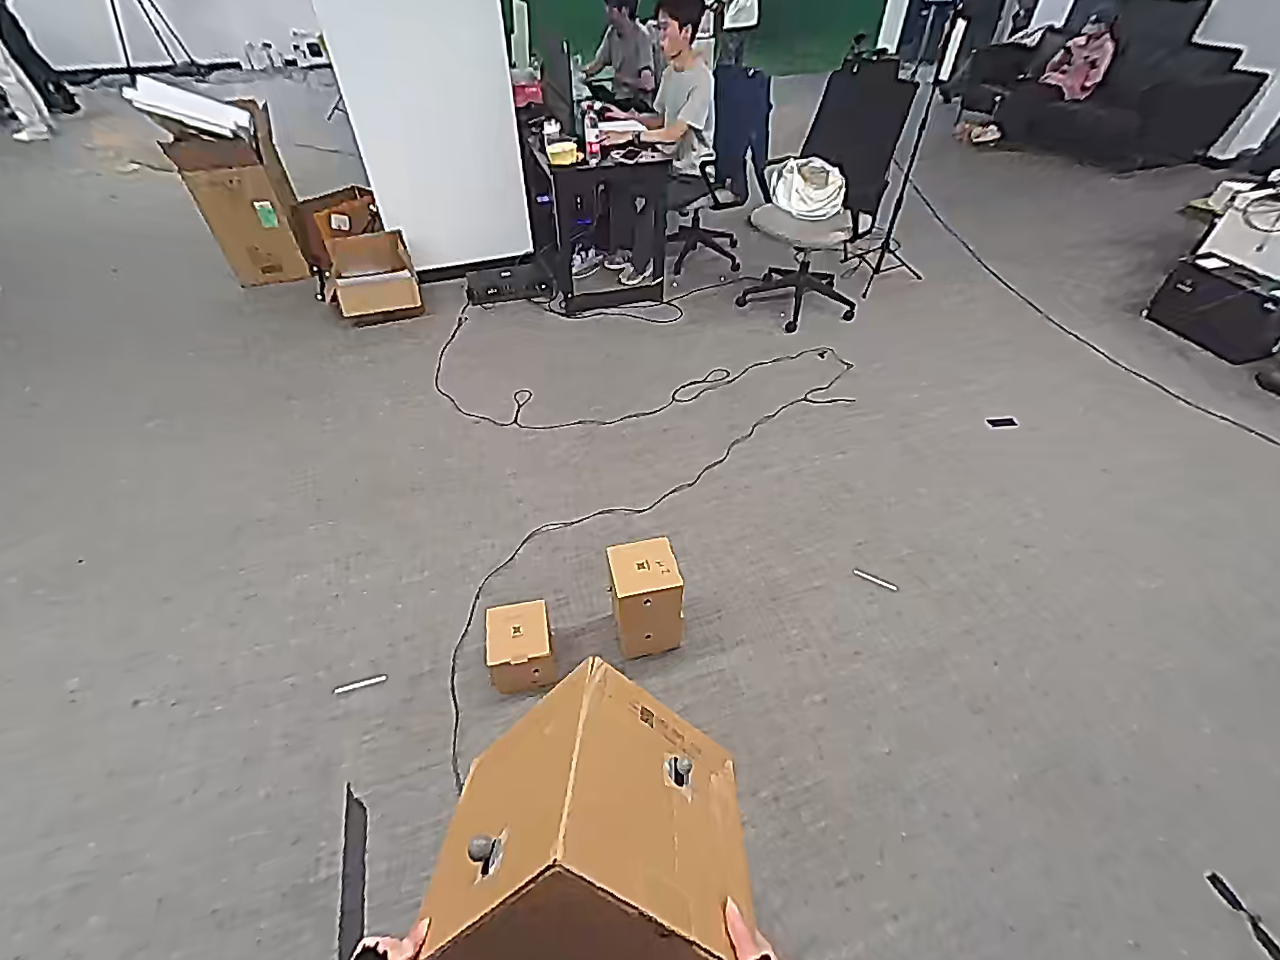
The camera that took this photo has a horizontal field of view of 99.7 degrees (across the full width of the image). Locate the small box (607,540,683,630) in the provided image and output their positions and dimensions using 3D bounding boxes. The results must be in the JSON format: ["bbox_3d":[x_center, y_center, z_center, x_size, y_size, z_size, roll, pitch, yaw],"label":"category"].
[{"bbox_3d":[0.011,0.291,1.475,0.179,0.176,0.168,-8,46,-9],"label":"small box"}]

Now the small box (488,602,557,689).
[{"bbox_3d":[-0.330,0.473,1.528,0.168,0.176,0.179,-8,45,-8],"label":"small box"}]

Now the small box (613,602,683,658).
[{"bbox_3d":[0.019,0.404,1.596,0.179,0.176,0.168,-10,47,-10],"label":"small box"}]

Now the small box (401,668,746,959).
[{"bbox_3d":[-0.039,0.289,0.418,0.168,0.179,0.176,40,18,-13],"label":"small box"}]
